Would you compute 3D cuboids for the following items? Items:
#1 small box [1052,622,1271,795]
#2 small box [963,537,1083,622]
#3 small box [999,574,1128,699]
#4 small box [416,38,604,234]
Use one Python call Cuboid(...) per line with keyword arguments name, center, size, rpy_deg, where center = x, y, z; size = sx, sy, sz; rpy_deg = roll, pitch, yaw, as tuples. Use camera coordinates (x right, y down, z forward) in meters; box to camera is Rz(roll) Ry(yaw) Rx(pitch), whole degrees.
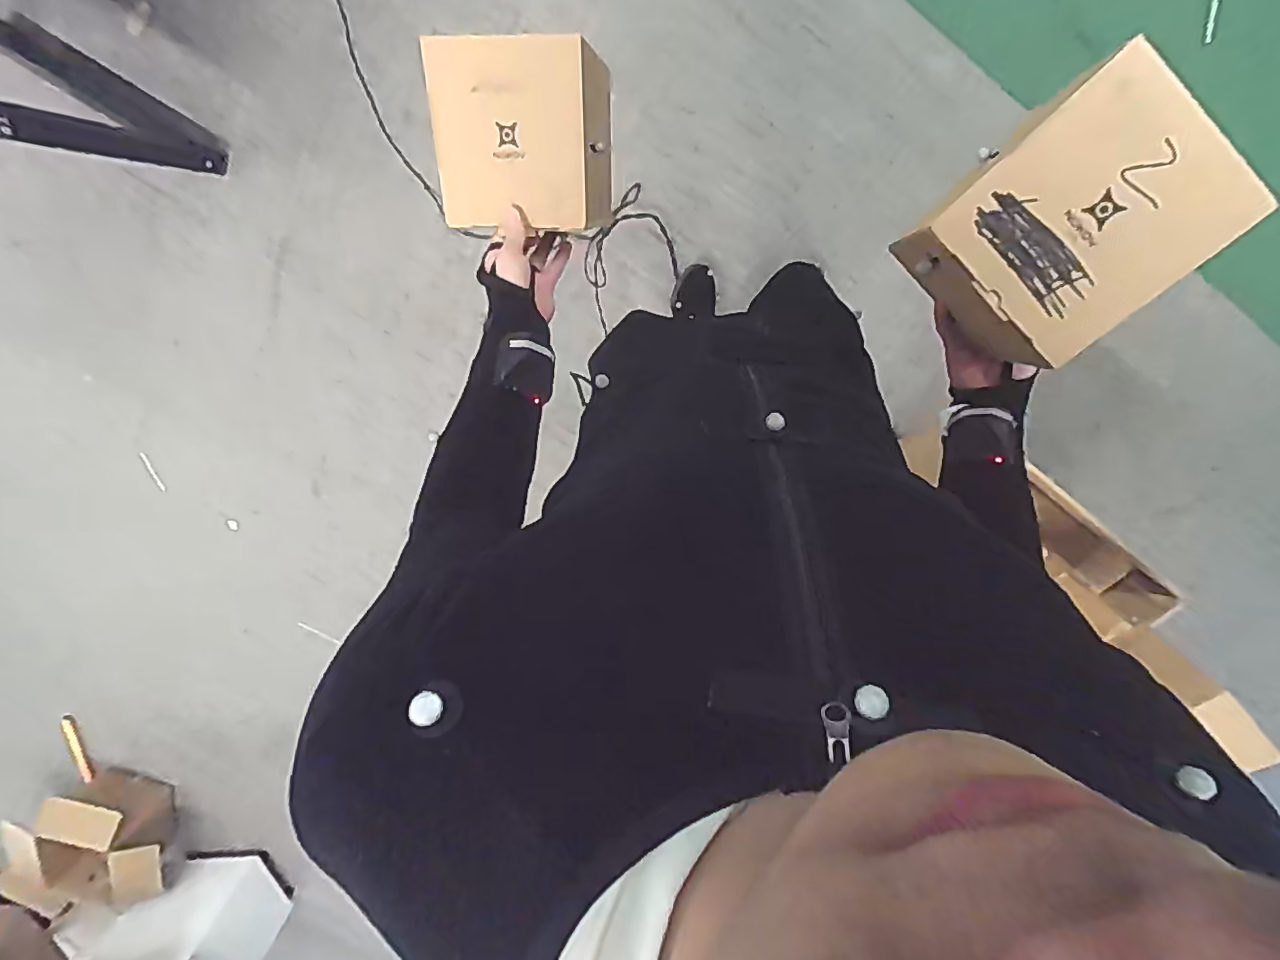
Cuboid(name="small box", center=(0.861, 0.378, 0.912), size=(0.179, 0.176, 0.168), rpy_deg=(44, 109, -11))
Cuboid(name="small box", center=(0.881, 0.257, 1.215), size=(0.179, 0.176, 0.168), rpy_deg=(35, 110, -9))
Cuboid(name="small box", center=(0.867, 0.316, 1.065), size=(0.179, 0.176, 0.168), rpy_deg=(34, 111, -9))
Cuboid(name="small box", center=(-0.137, -0.397, 0.642), size=(0.168, 0.176, 0.179), rpy_deg=(4, 118, 5))
